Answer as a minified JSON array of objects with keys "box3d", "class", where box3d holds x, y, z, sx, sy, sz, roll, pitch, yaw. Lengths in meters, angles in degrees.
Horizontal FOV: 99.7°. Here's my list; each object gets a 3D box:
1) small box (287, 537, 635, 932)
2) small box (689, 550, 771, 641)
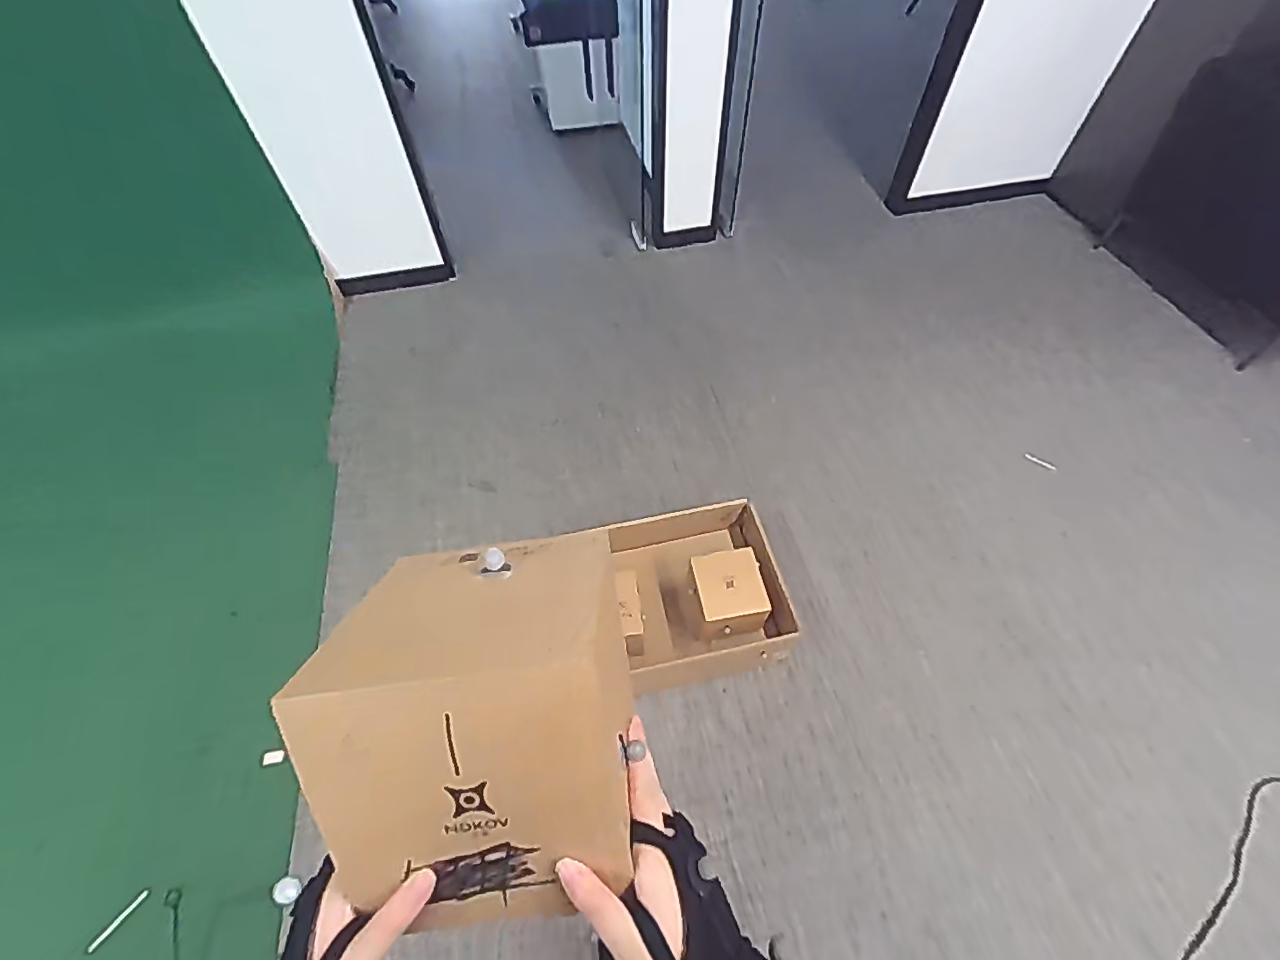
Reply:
[{"box3d":[-0.093,0.158,0.377,0.168,0.179,0.176,-8,16,0],"class":"small box"},{"box3d":[0.226,0.307,1.406,0.168,0.176,0.179,-9,56,-5],"class":"small box"}]
